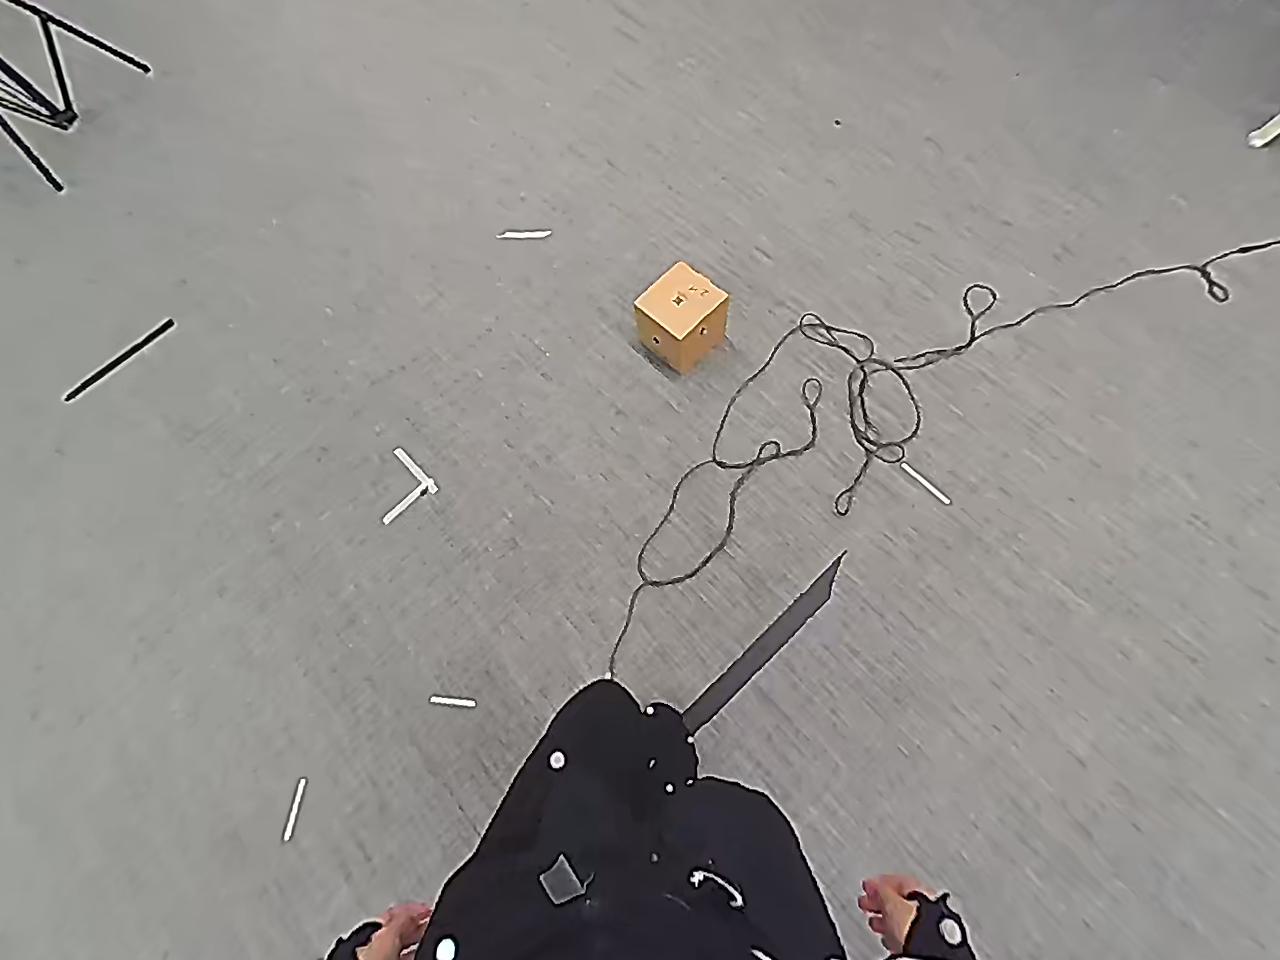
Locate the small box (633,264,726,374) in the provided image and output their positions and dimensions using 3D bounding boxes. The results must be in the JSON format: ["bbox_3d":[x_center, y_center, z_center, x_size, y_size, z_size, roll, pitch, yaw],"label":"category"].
[{"bbox_3d":[0.106,-0.411,1.408,0.179,0.176,0.168,-44,73,-10],"label":"small box"}]
